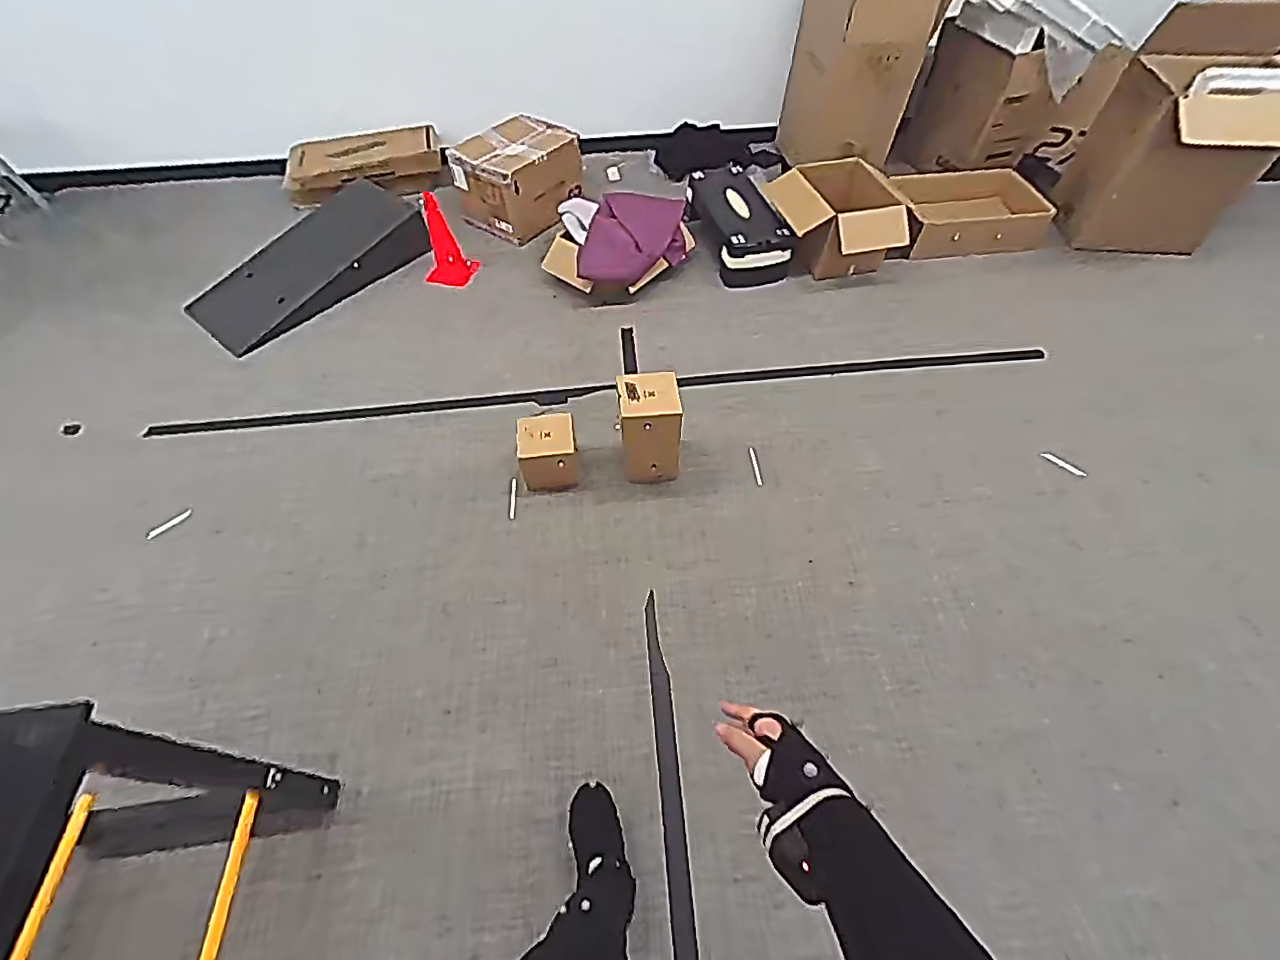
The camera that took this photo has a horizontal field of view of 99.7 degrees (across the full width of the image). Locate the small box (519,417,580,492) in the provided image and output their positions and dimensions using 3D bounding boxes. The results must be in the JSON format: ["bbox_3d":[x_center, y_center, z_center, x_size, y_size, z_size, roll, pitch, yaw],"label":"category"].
[{"bbox_3d":[-0.288,-0.080,1.742,0.179,0.176,0.168,-7,54,-3],"label":"small box"}]

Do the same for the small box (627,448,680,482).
[{"bbox_3d":[0.039,-0.105,1.754,0.168,0.176,0.179,-4,55,-2],"label":"small box"}]

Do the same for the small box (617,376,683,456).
[{"bbox_3d":[0.028,-0.187,1.609,0.179,0.176,0.168,-5,55,-3],"label":"small box"}]
